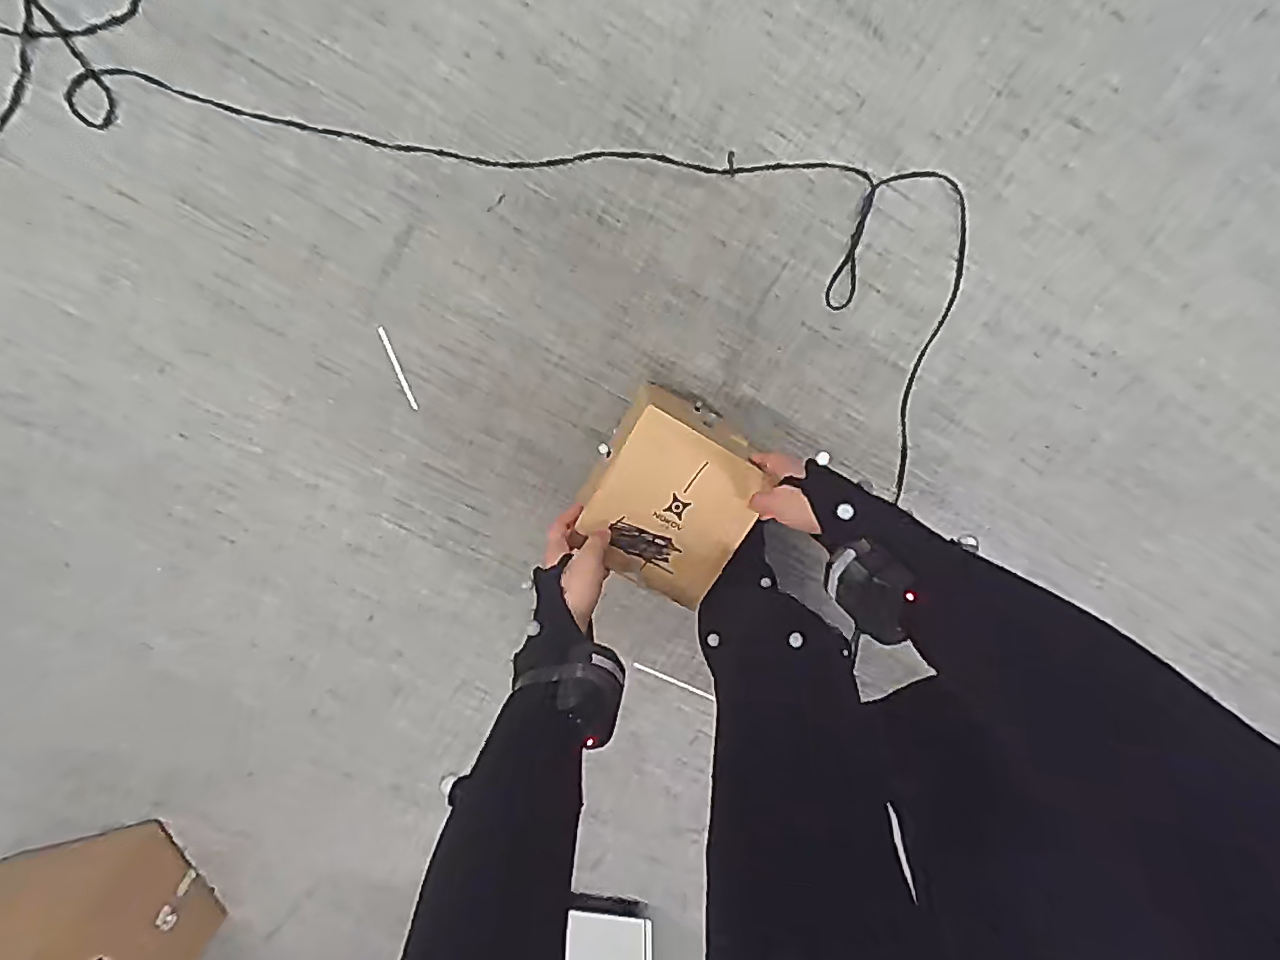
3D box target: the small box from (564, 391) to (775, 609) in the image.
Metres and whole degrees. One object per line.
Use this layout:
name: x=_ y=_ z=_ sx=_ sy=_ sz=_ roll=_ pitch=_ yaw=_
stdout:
small box: x=0.030 y=0.014 z=0.648 sx=0.168 sy=0.176 sz=0.179 roll=30 pitch=103 yaw=-10

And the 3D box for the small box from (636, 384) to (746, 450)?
small box: x=0.043 y=-0.038 z=0.866 sx=0.168 sy=0.176 sz=0.179 roll=25 pitch=106 yaw=-7
